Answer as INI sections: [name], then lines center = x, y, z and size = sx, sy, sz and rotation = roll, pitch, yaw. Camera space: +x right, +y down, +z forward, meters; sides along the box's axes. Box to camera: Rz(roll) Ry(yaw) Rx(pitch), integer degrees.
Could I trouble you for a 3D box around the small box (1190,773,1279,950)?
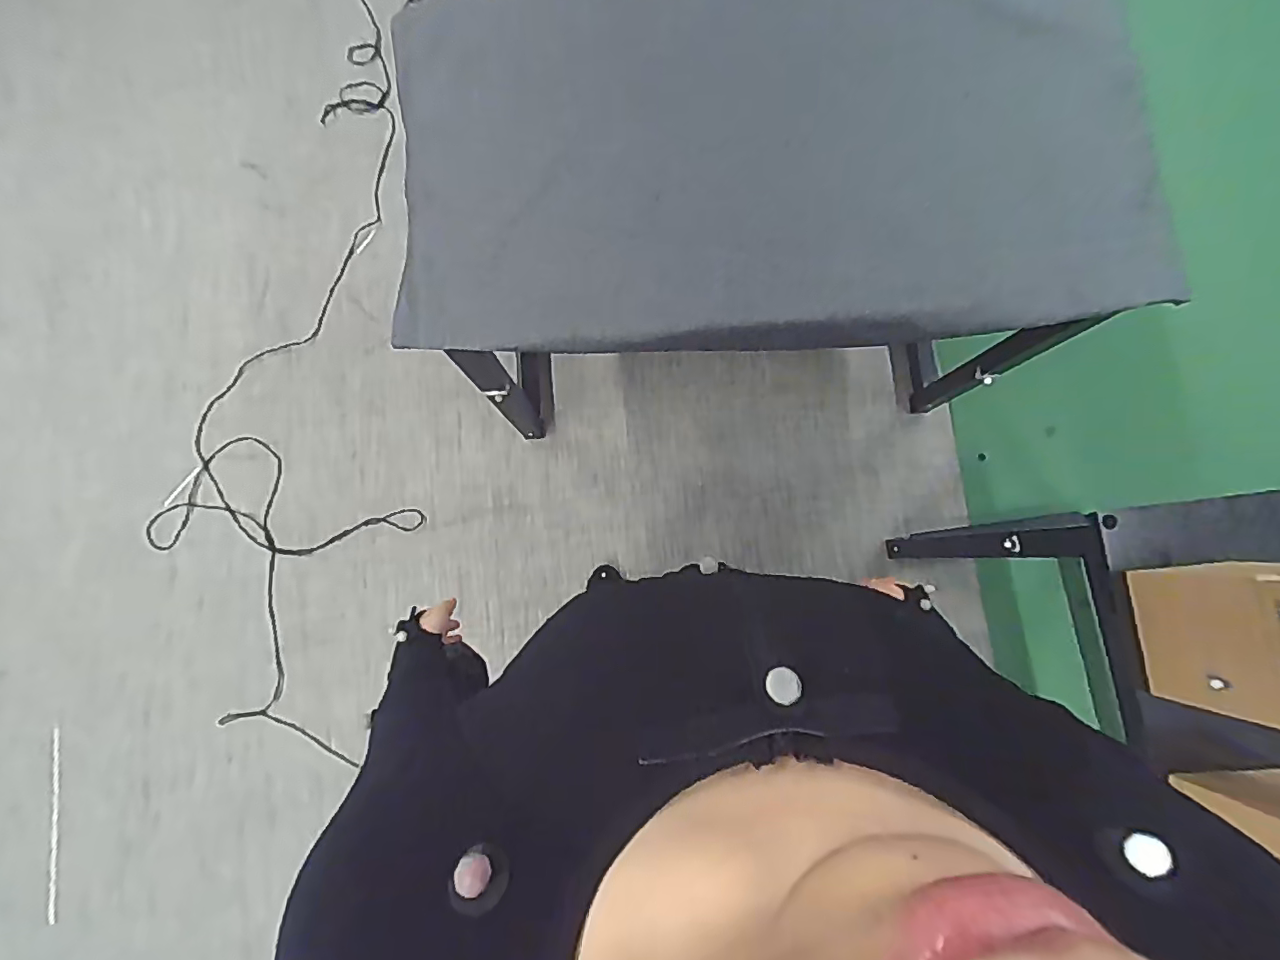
[small box]
center = 0.817, 0.467, 0.643
size = 0.179, 0.176, 0.168
rotation = -2, 82, 0
